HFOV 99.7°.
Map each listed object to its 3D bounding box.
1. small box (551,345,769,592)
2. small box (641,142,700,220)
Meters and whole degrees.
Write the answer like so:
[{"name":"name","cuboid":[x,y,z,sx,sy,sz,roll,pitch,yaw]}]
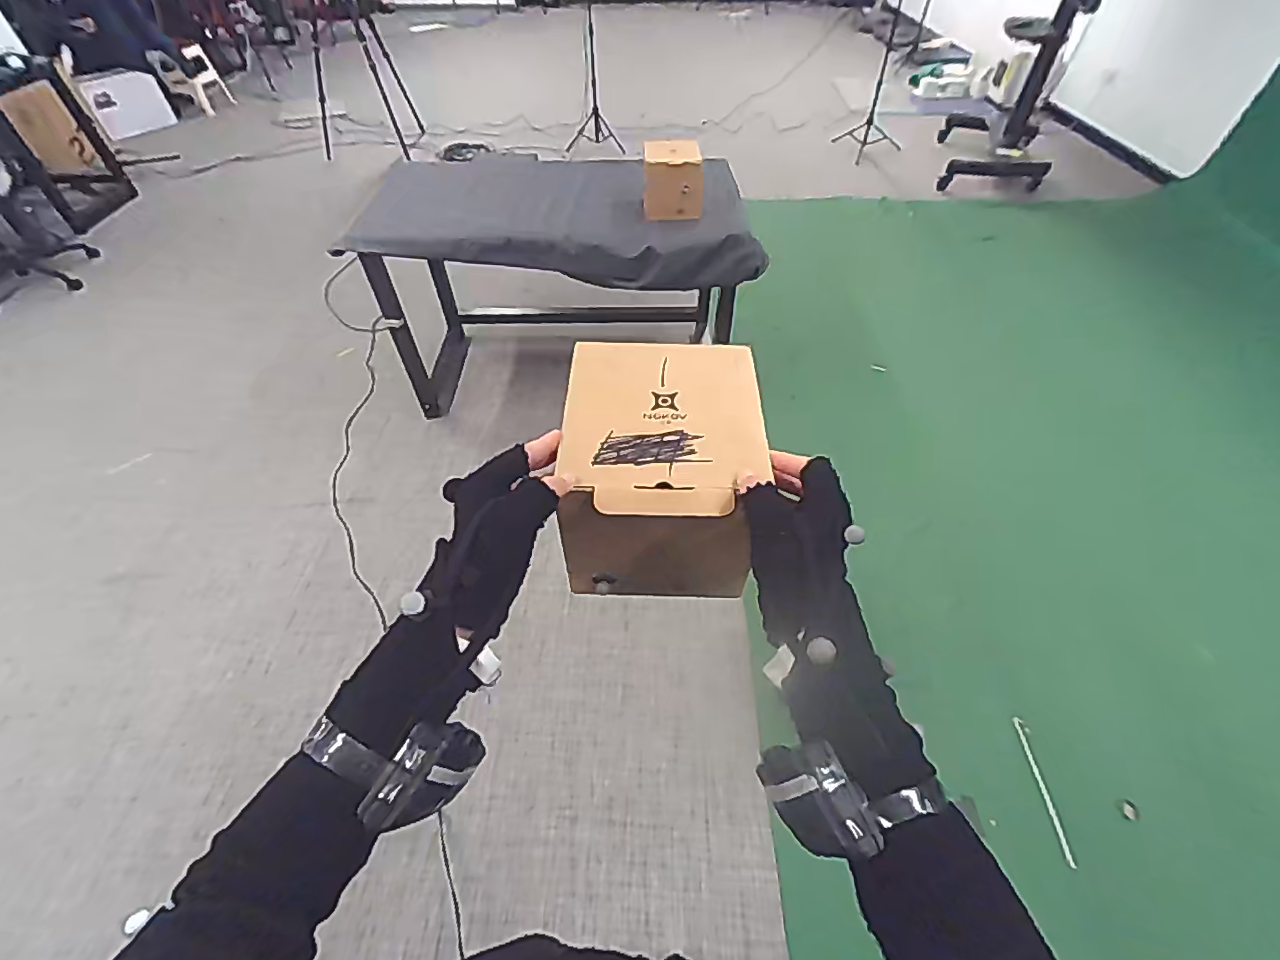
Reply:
[{"name":"small box","cuboid":[0.018,-0.007,0.511,0.168,0.176,0.179,1,50,1]},{"name":"small box","cuboid":[0.090,-0.912,1.655,0.168,0.176,0.179,-2,47,-2]}]
